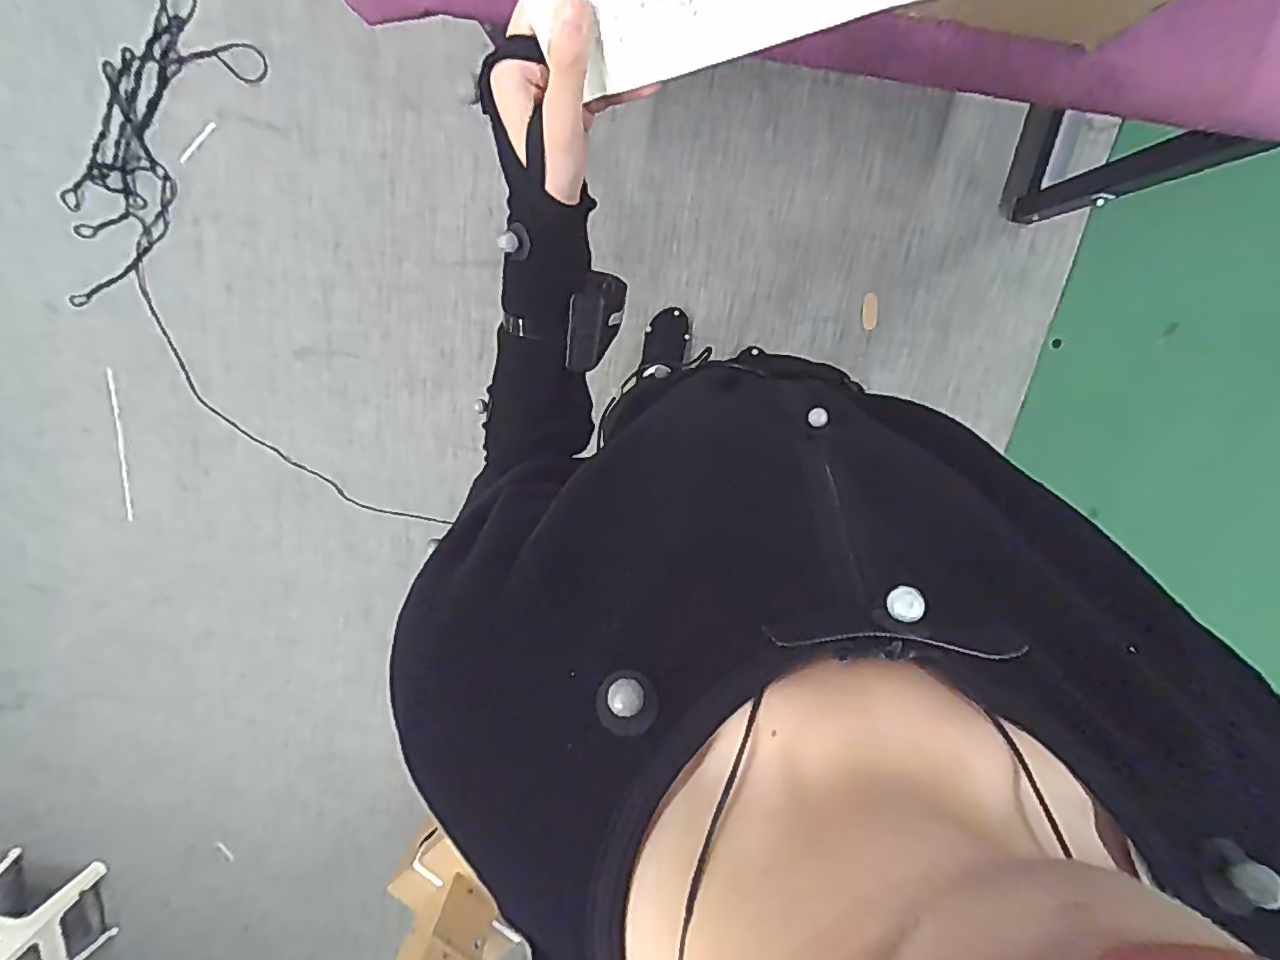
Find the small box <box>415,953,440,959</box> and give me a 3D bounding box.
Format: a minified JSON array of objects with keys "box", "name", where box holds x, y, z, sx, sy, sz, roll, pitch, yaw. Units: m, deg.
[{"box":[-0.549,1.330,1.332,0.168,0.176,0.179,43,105,-7],"name":"small box"}]
